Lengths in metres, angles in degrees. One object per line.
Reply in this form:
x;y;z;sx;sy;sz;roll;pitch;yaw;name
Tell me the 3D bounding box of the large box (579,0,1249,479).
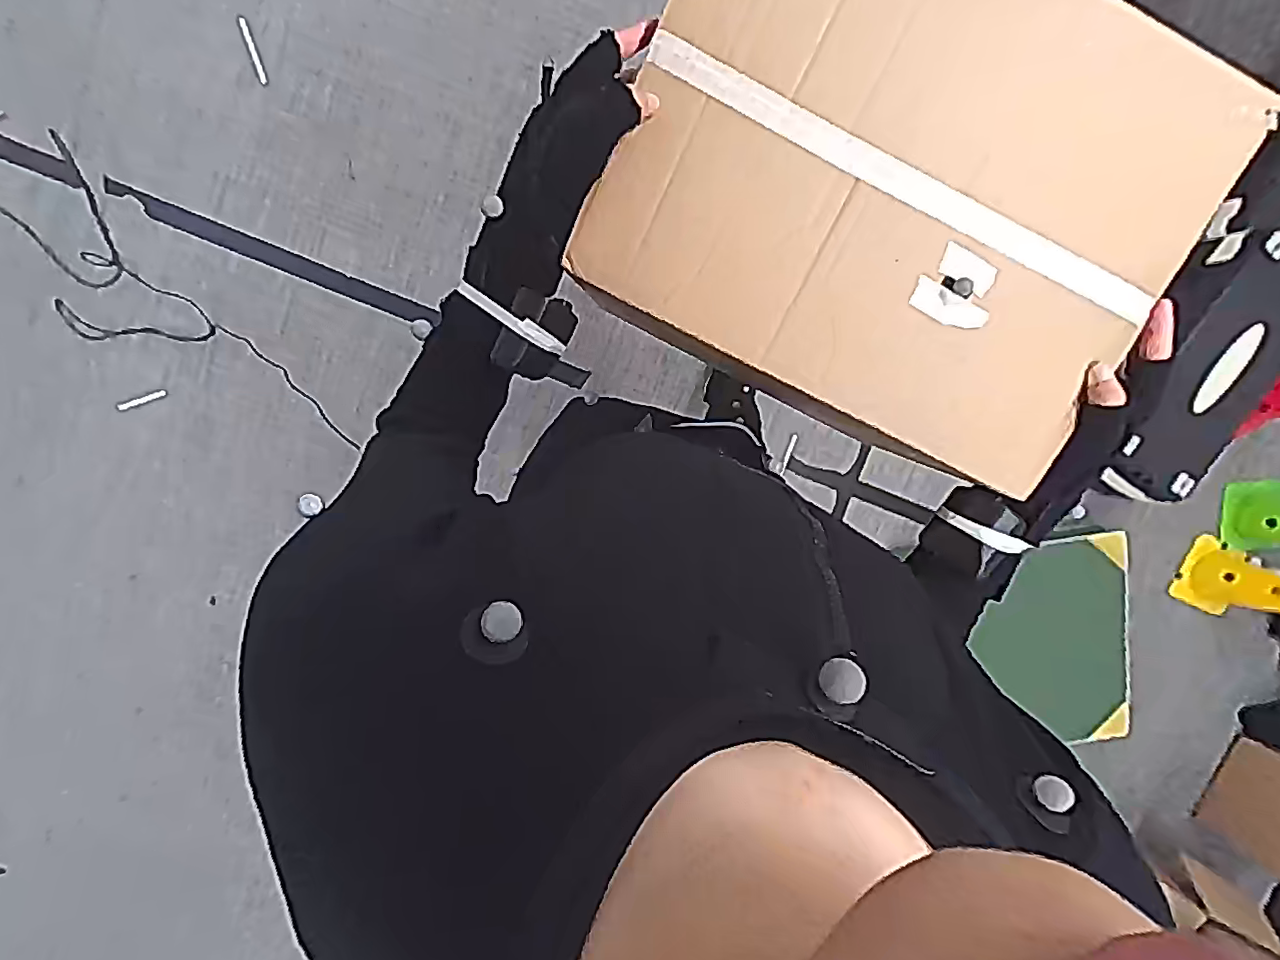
0.193;-0.246;0.543;0.408;0.320;0.320;26;102;-5;large box
